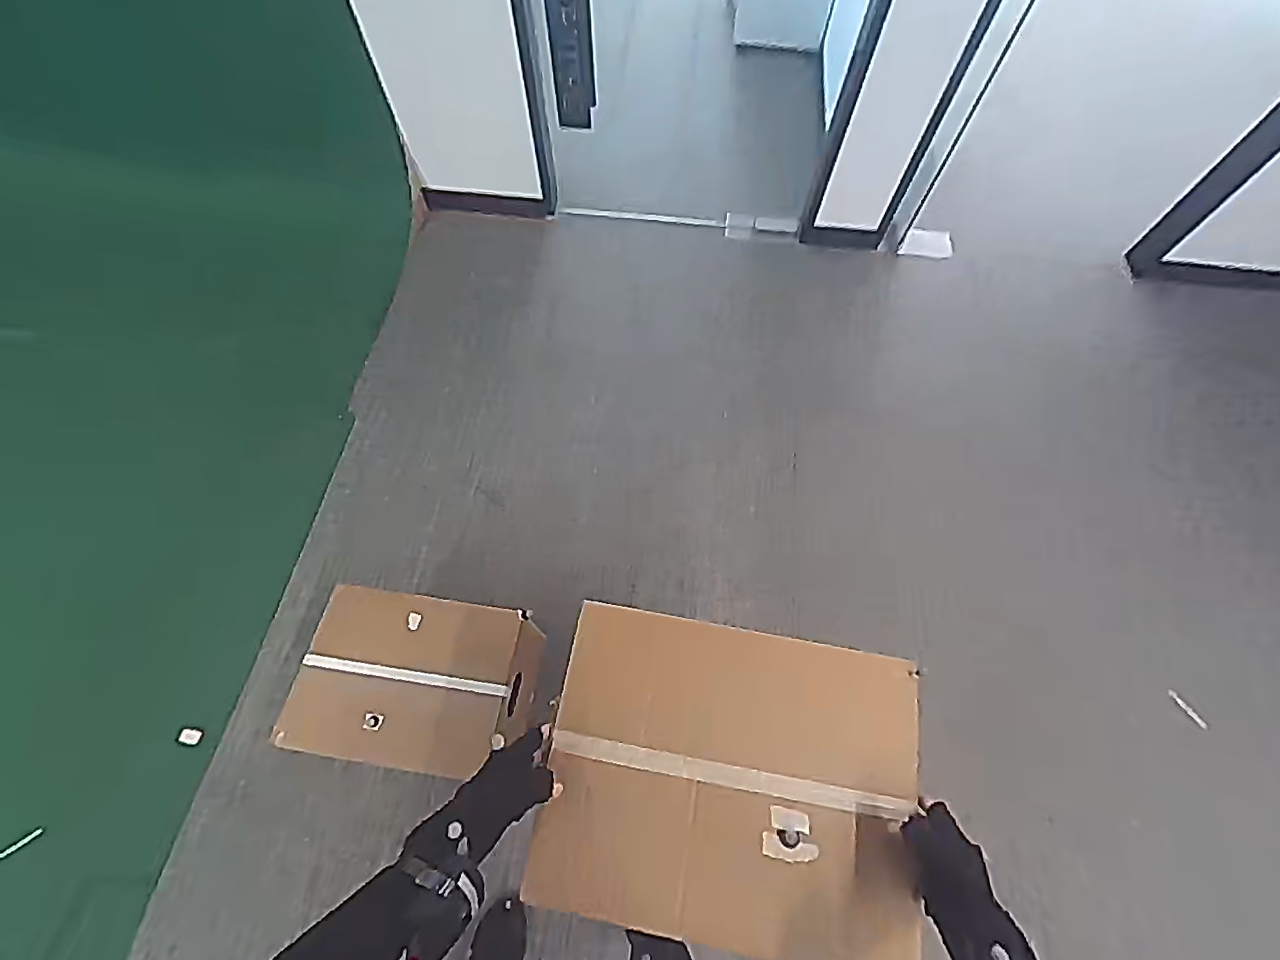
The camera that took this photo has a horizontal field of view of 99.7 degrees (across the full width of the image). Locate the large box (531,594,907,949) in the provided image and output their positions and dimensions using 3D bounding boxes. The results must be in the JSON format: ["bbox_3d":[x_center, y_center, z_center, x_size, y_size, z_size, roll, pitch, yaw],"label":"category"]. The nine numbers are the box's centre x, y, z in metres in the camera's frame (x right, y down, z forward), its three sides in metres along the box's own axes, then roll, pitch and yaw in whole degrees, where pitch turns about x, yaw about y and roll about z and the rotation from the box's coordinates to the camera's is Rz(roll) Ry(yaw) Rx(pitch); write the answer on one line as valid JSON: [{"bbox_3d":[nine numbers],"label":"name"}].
[{"bbox_3d":[0.098,0.367,0.754,0.408,0.320,0.320,10,69,3],"label":"large box"}]
